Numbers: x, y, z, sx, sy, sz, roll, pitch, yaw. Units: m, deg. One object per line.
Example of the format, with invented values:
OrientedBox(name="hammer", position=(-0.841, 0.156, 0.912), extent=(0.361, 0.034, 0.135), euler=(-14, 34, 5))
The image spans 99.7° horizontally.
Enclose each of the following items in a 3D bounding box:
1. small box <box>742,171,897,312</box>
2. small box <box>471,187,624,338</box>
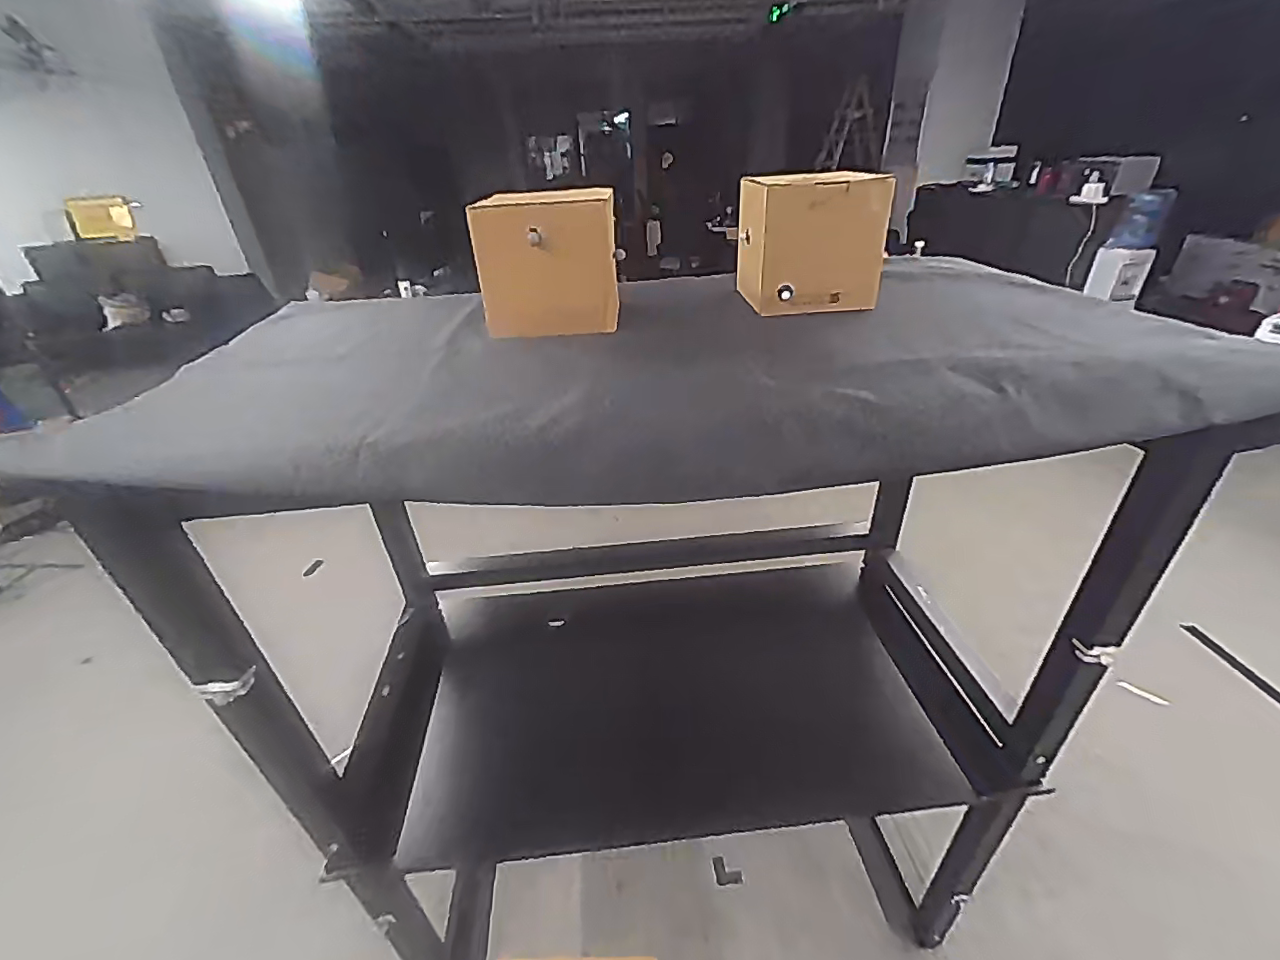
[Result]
OrientedBox(name="small box", position=(0.248, -0.349, 0.794), extent=(0.168, 0.176, 0.179), euler=(-3, 31, 0))
OrientedBox(name="small box", position=(-0.115, -0.308, 0.763), extent=(0.179, 0.176, 0.168), euler=(-2, 32, 2))
